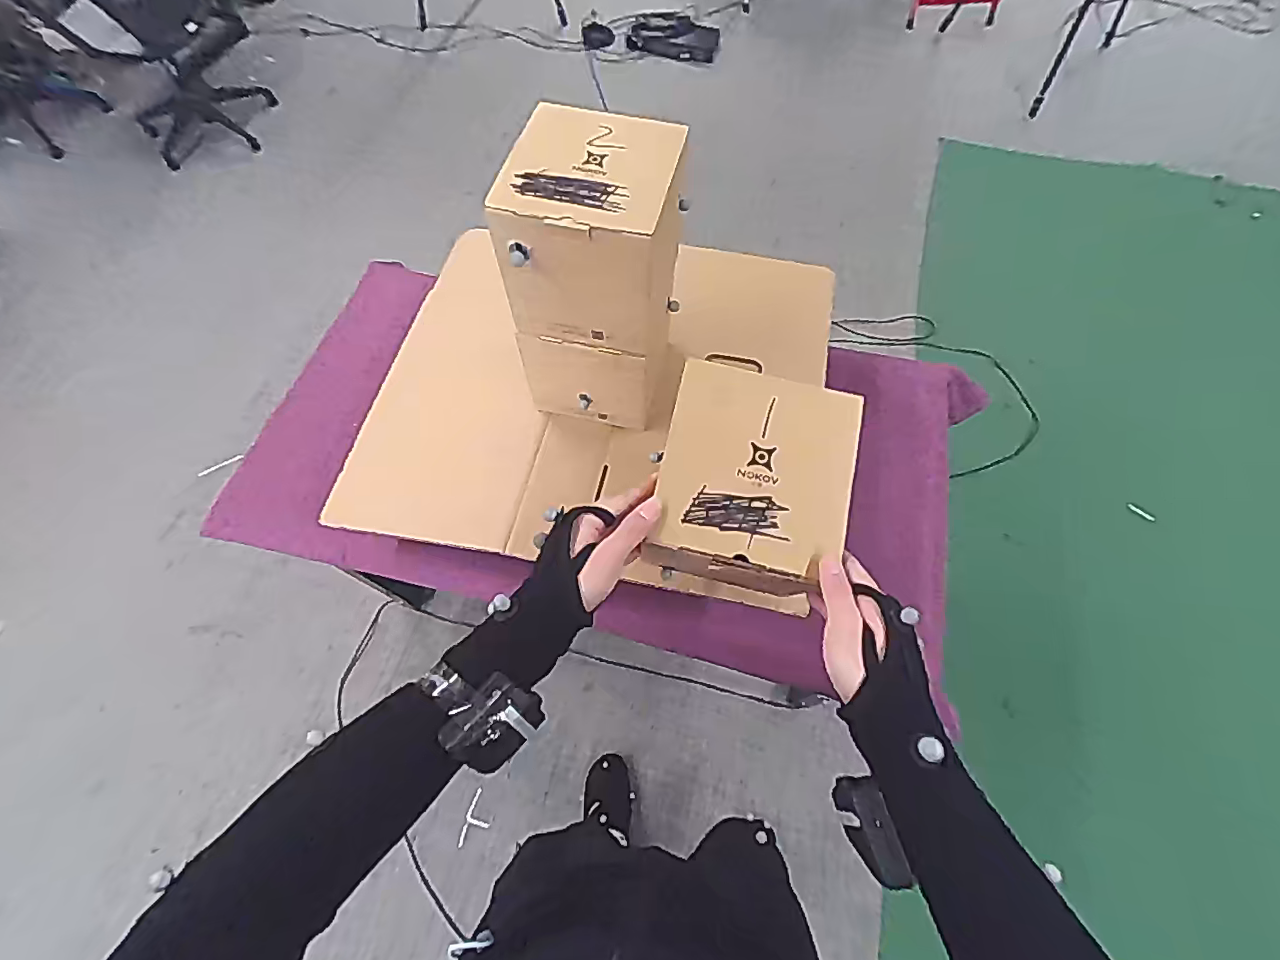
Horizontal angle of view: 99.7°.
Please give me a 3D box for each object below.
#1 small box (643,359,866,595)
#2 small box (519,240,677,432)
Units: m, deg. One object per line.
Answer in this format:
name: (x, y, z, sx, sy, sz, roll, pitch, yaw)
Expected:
small box: (0.102, 0.010, 0.544, 0.168, 0.176, 0.179, 14, 74, 2)
small box: (-0.051, -0.194, 0.751, 0.168, 0.176, 0.179, 12, 65, 5)
